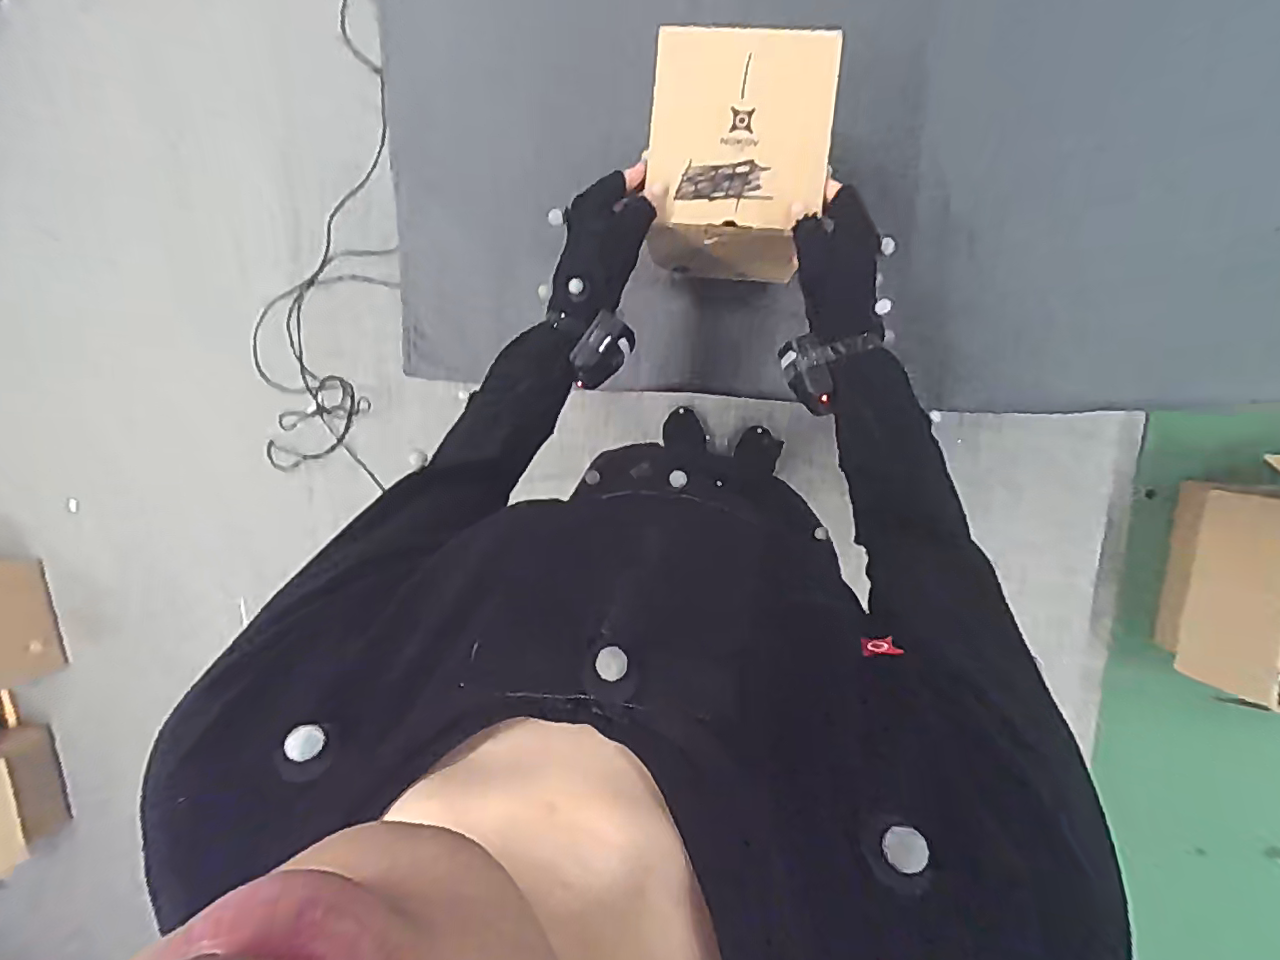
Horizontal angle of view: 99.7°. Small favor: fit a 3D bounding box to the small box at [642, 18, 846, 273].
[{"bbox_3d":[0.100,-0.330,0.568,0.168,0.176,0.179,7,96,5],"label":"small box"}]
